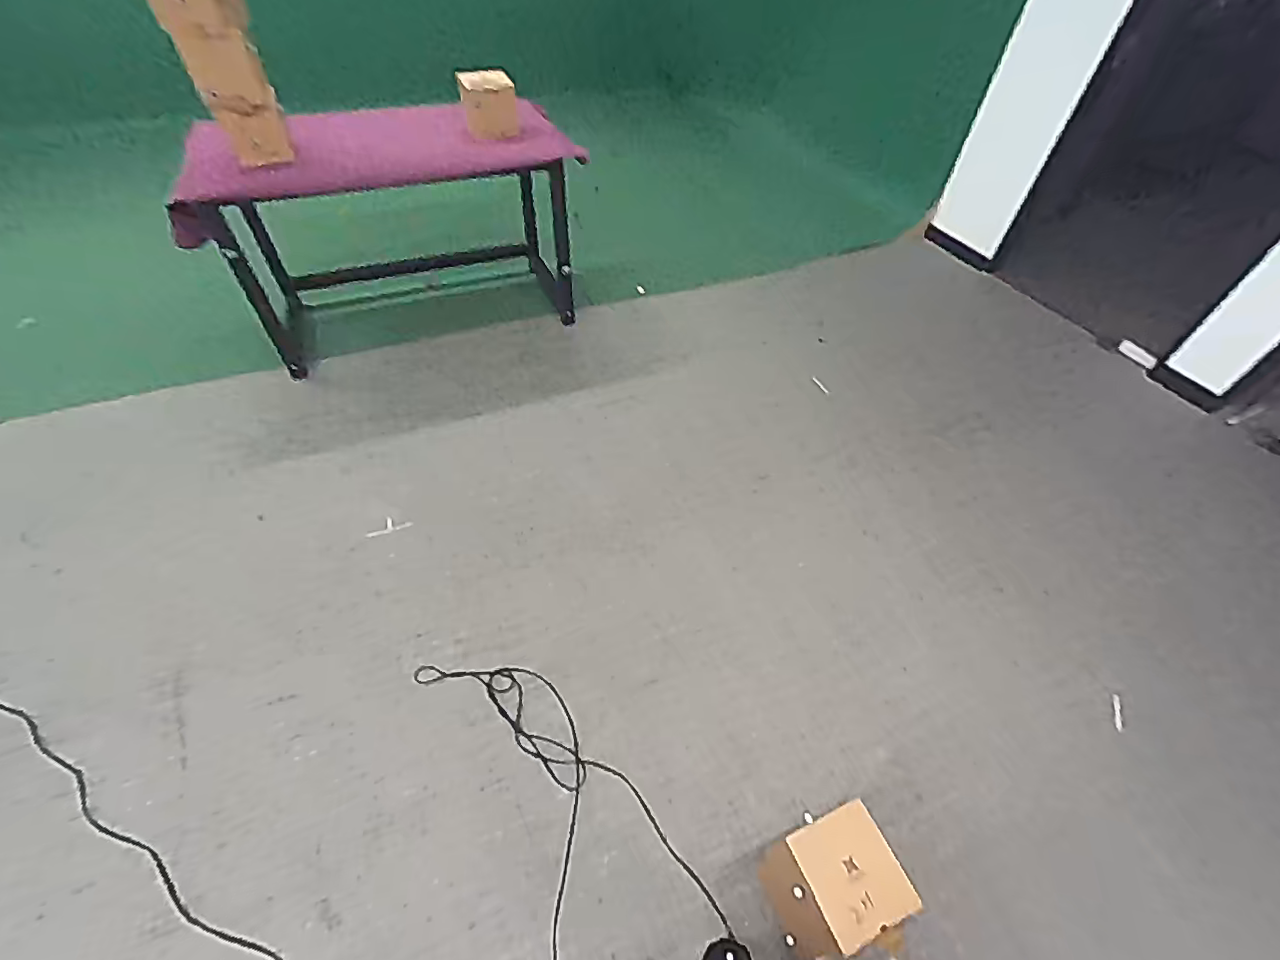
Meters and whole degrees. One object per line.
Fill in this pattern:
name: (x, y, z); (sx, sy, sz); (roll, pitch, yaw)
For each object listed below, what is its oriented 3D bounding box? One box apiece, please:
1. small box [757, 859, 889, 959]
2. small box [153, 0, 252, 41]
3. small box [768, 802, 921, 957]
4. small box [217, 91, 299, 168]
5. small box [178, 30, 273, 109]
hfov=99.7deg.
small box: (0.360, 0.847, 1.099); (0.168, 0.176, 0.179); (-13, 51, -15)
small box: (-1.214, -1.332, 1.484); (0.168, 0.176, 0.179); (0, 51, -5)
small box: (0.357, 0.727, 0.984); (0.168, 0.176, 0.179); (-16, 52, -17)
small box: (-1.226, -1.130, 1.744); (0.168, 0.176, 0.179); (-18, 54, -18)
small box: (-1.221, -1.223, 1.608); (0.168, 0.176, 0.179); (-14, 52, -15)
